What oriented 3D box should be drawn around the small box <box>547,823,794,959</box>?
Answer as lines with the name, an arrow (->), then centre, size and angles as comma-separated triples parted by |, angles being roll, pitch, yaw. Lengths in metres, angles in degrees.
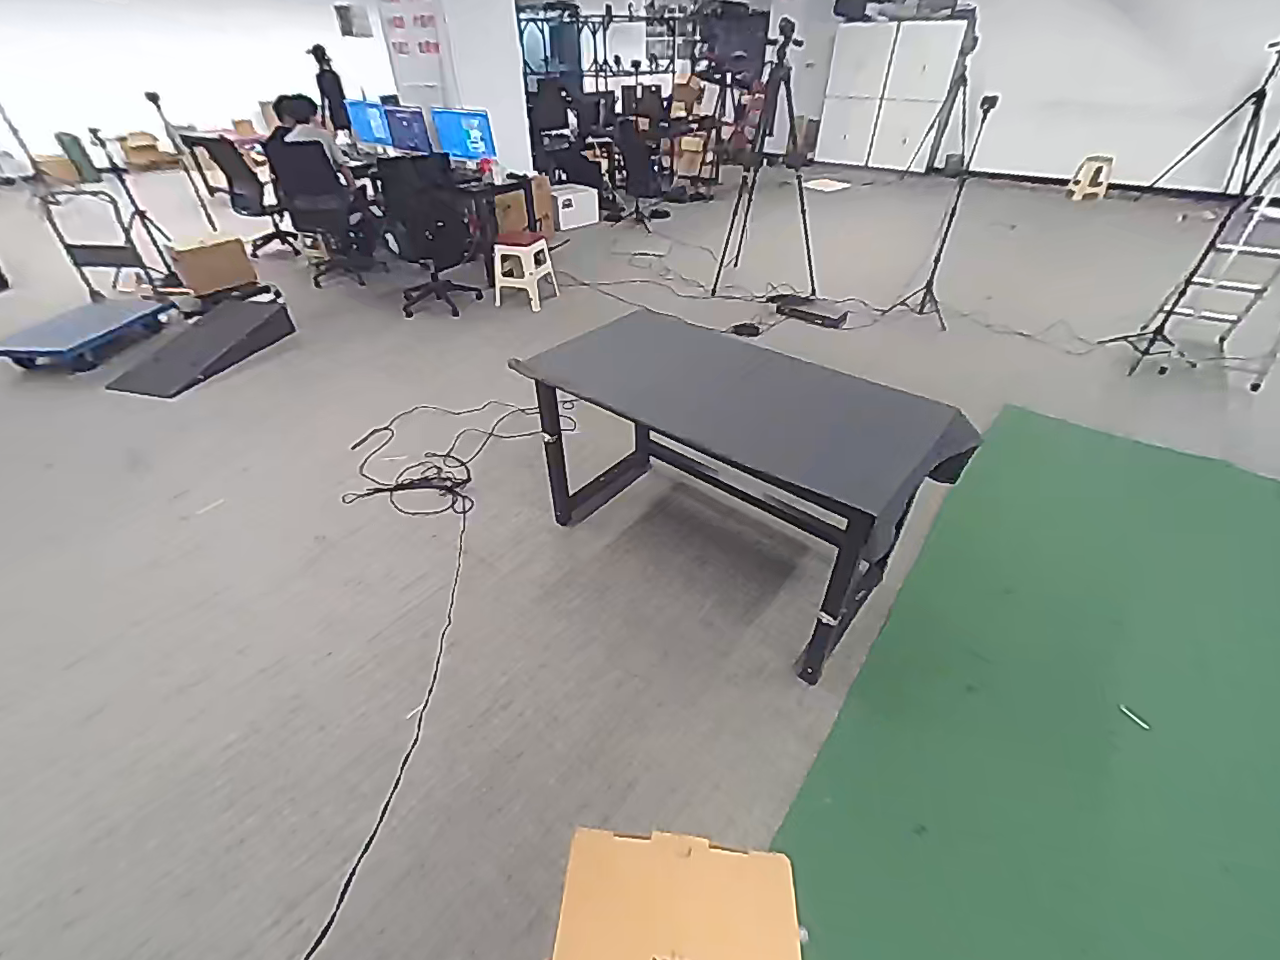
small box -> 0.015, 0.388, 0.392 | 0.168, 0.176, 0.179 | 6, 35, 2
